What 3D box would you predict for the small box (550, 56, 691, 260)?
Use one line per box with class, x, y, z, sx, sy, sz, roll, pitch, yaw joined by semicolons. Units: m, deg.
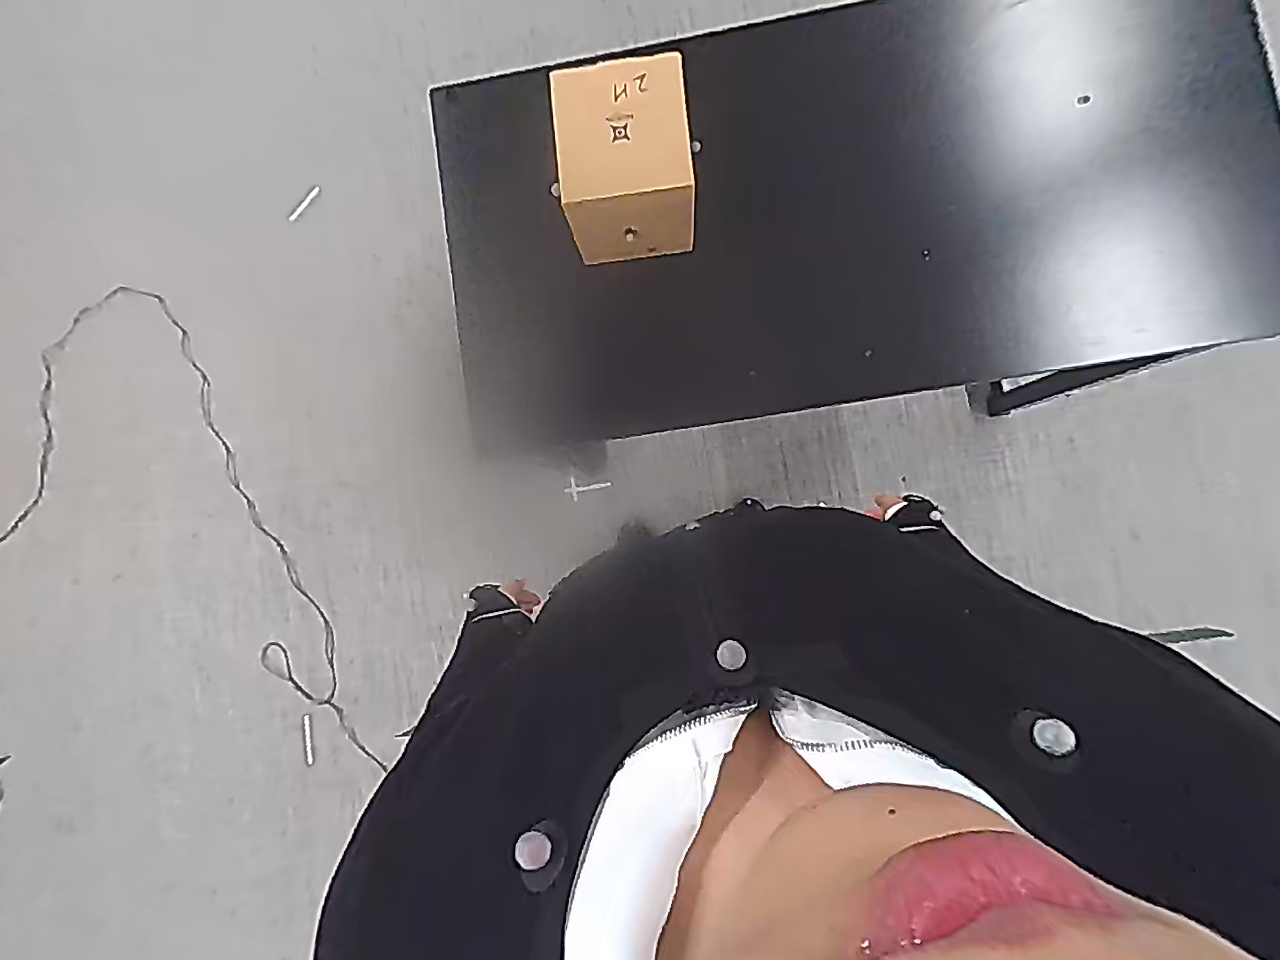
small box;-0.018;-0.424;0.746;0.168;0.176;0.179;-6;85;4
